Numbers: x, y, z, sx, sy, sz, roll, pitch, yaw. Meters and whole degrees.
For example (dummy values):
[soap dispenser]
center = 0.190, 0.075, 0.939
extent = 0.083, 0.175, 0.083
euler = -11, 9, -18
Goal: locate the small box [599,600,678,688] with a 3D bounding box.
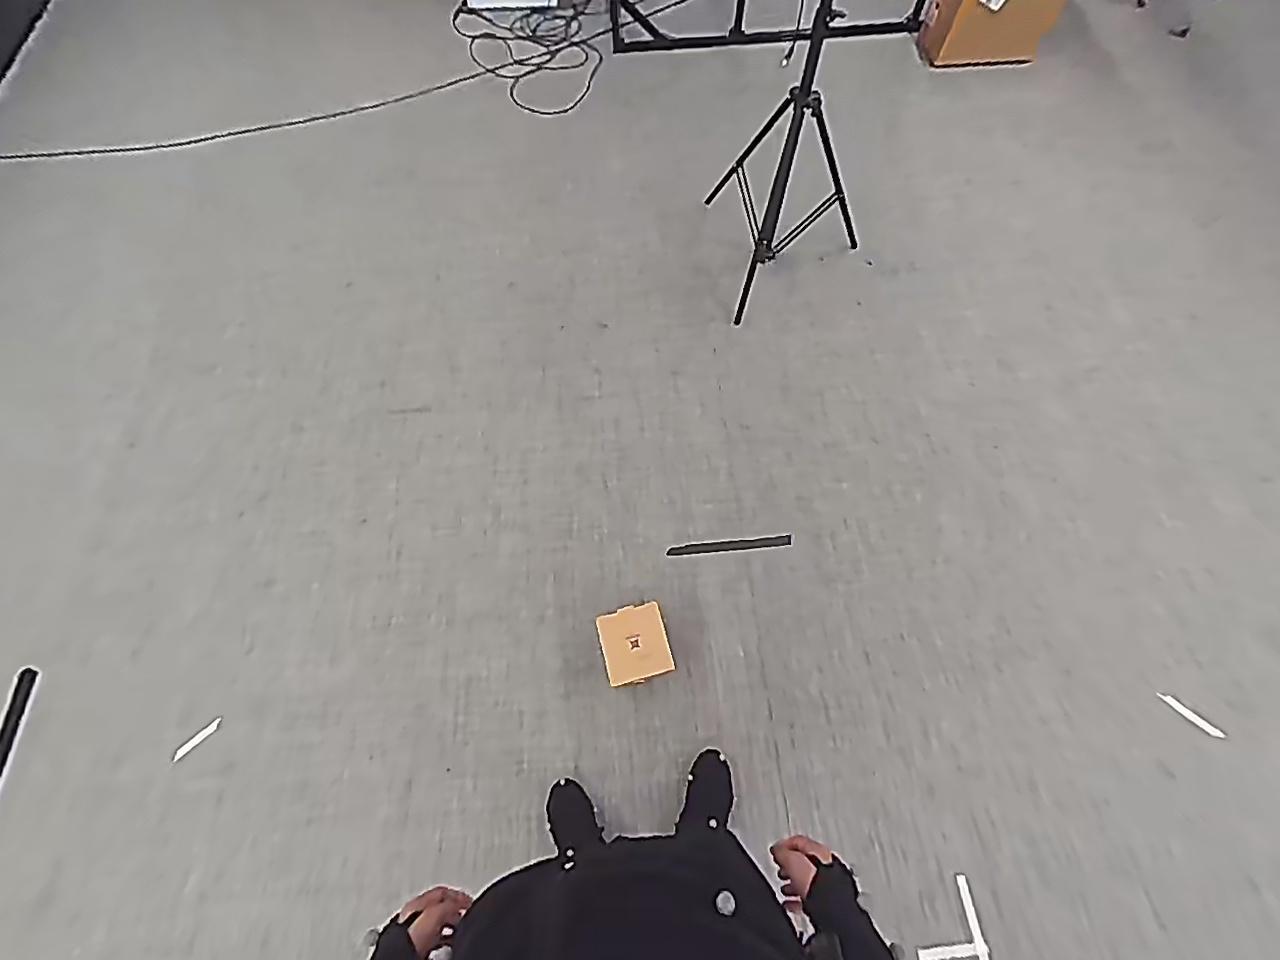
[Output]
[small box]
center = -0.005, 0.433, 1.416
extent = 0.168, 0.176, 0.179
euler = -15, 67, -4
